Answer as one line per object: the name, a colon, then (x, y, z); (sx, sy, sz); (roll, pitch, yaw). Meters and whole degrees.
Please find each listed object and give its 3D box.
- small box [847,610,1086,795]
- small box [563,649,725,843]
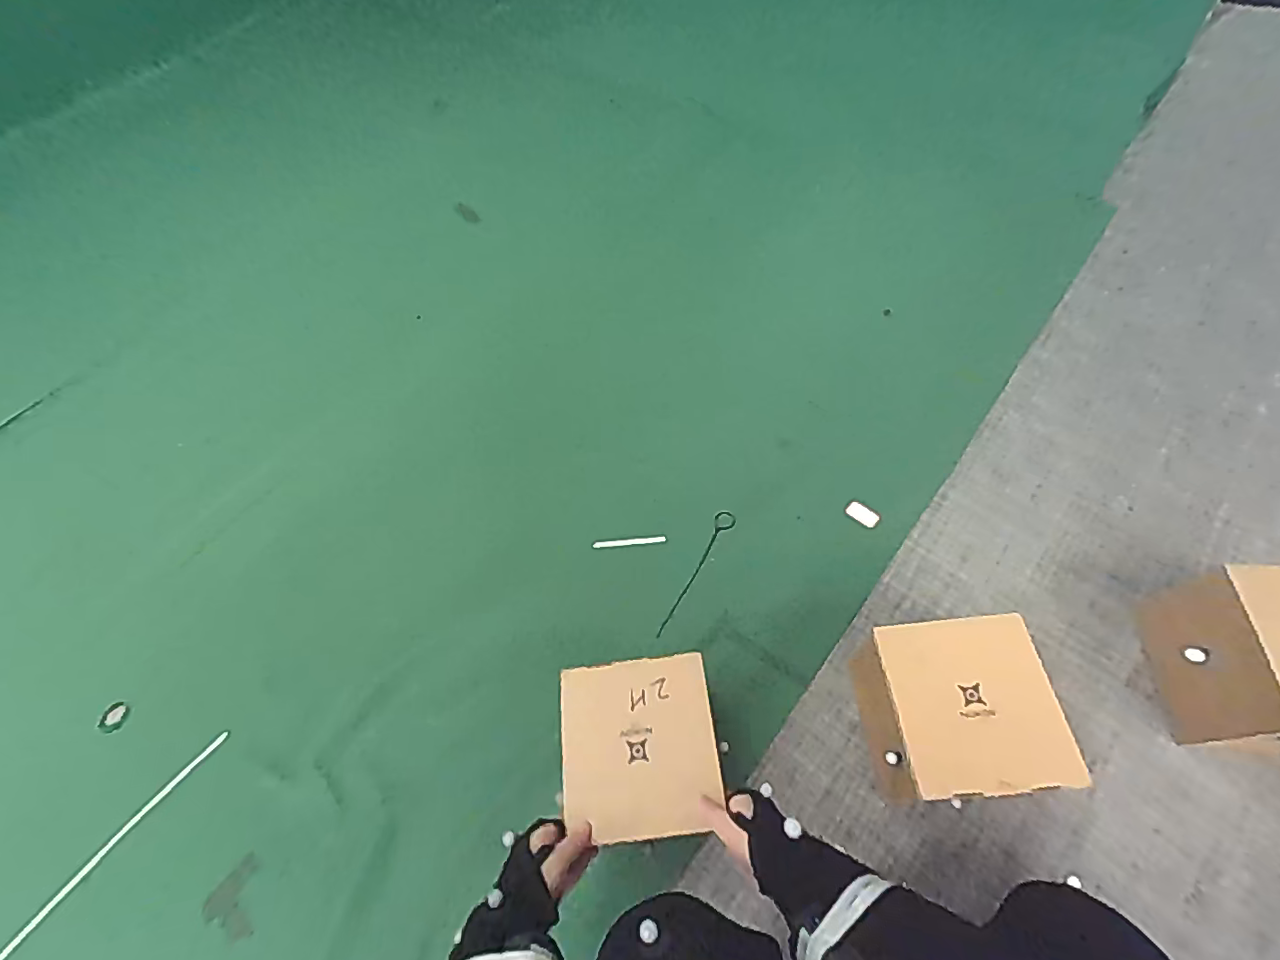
small box: (0.364, 0.272, 0.649); (0.168, 0.176, 0.179); (-8, 60, 4)
small box: (0.007, 0.319, 0.645); (0.168, 0.176, 0.179); (-7, 57, 1)
